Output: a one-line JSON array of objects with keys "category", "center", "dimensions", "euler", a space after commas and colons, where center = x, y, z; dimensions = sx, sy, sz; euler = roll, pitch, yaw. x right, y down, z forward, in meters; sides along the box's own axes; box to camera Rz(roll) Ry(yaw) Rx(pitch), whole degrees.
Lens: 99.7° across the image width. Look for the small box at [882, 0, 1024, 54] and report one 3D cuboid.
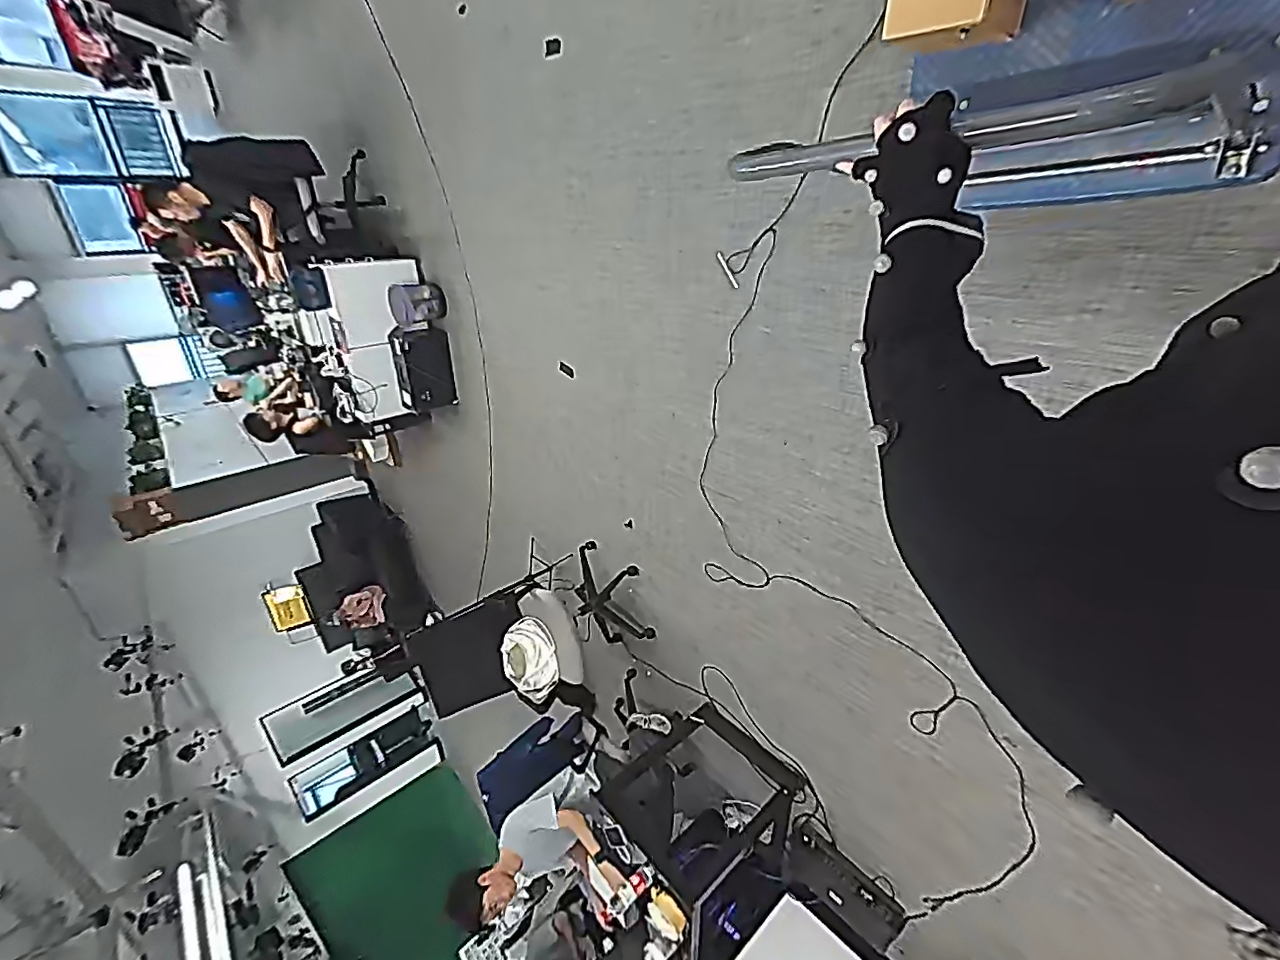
[{"category": "small box", "center": [0.559, -0.872, 0.945], "dimensions": [0.179, 0.176, 0.168], "euler": [25, 127, 40]}]
